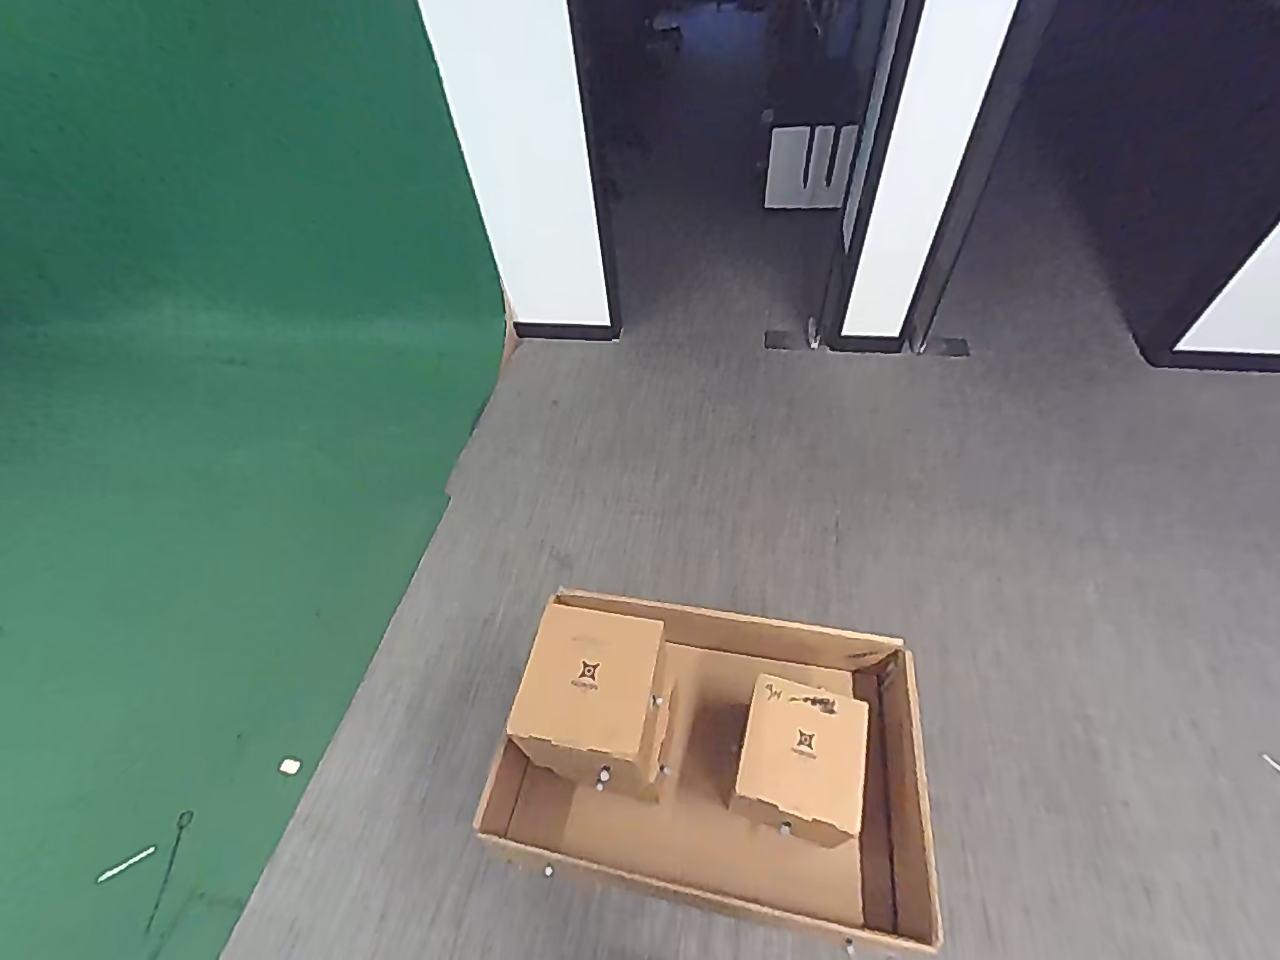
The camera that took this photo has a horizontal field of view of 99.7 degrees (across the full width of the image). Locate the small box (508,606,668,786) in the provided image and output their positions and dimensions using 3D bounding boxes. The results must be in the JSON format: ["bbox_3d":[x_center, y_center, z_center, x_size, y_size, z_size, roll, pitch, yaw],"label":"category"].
[{"bbox_3d":[-0.057,0.303,0.751,0.168,0.176,0.179,7,51,12],"label":"small box"}]
